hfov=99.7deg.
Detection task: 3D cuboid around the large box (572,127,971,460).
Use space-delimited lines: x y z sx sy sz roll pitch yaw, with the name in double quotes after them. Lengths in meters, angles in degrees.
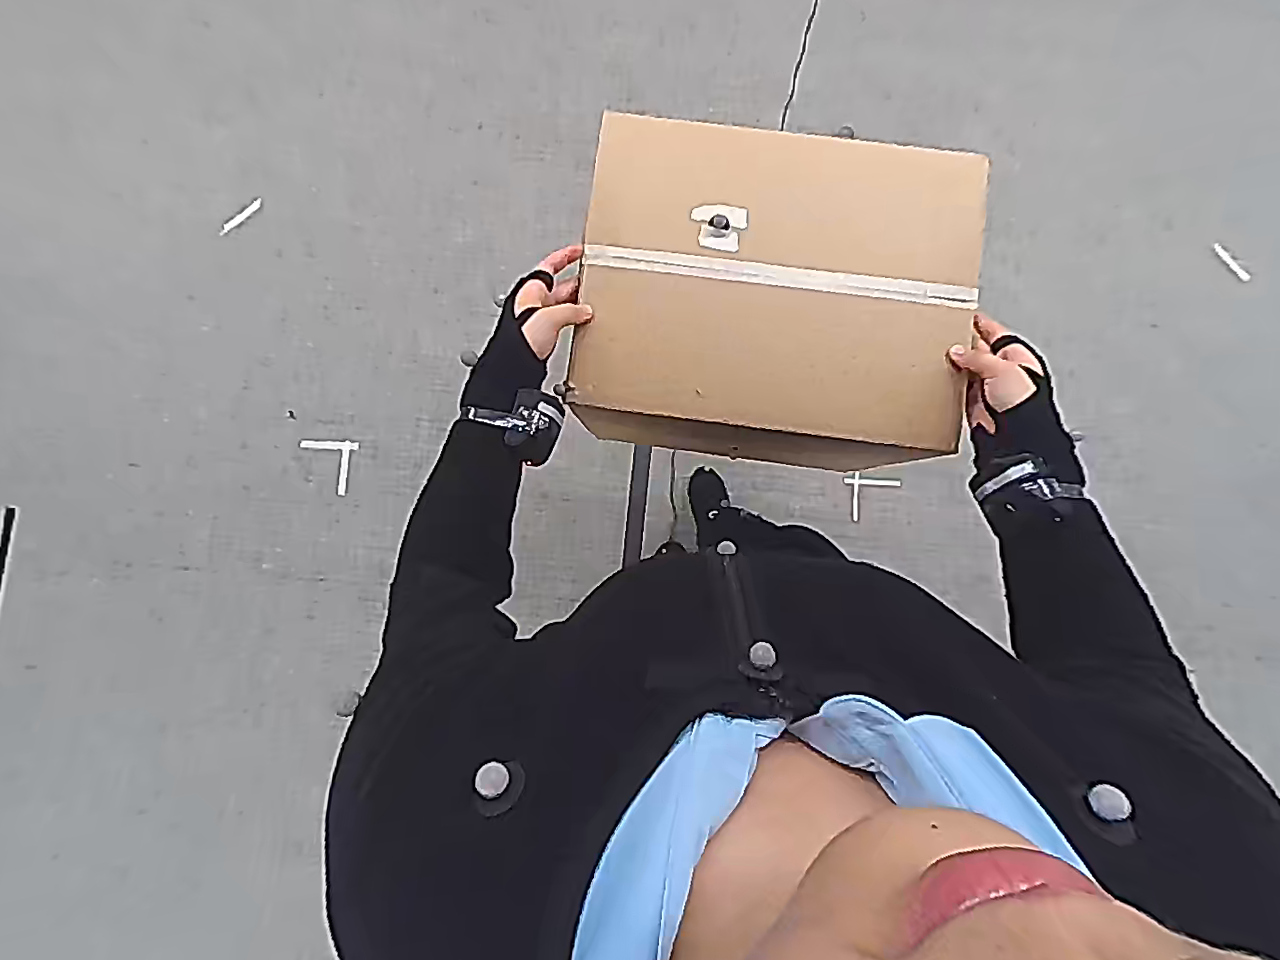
0.145 -0.205 0.720 0.408 0.320 0.320 7 86 2 "large box"
